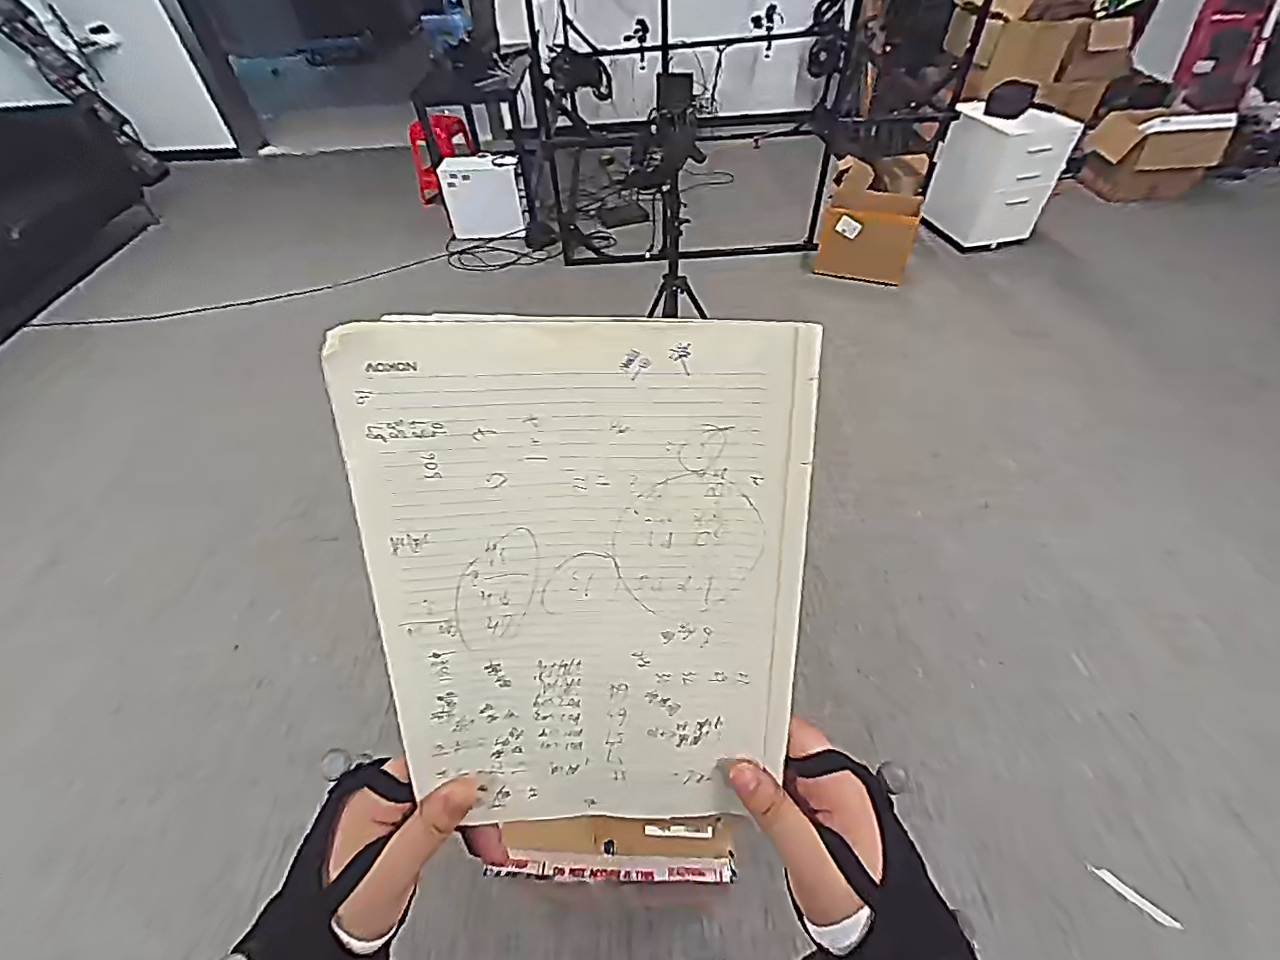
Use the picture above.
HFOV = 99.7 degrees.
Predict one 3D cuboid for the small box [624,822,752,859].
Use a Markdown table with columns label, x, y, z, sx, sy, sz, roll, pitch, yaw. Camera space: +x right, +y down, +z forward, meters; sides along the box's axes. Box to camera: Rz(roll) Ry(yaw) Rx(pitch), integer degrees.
| label | x | y | z | sx | sy | sz | roll | pitch | yaw |
| --- | --- | --- | --- | --- | --- | --- | --- | --- | --- |
| small box | 0.064 | 0.475 | 0.835 | 0.179 | 0.176 | 0.168 | 0 | 49 | 0 |

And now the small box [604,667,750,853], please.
| label | x | y | z | sx | sy | sz | roll | pitch | yaw |
| --- | --- | --- | --- | --- | --- | --- | --- | --- | --- |
| small box | 0.045 | 0.368 | 0.710 | 0.168 | 0.176 | 0.179 | 3 | 50 | 2 |
